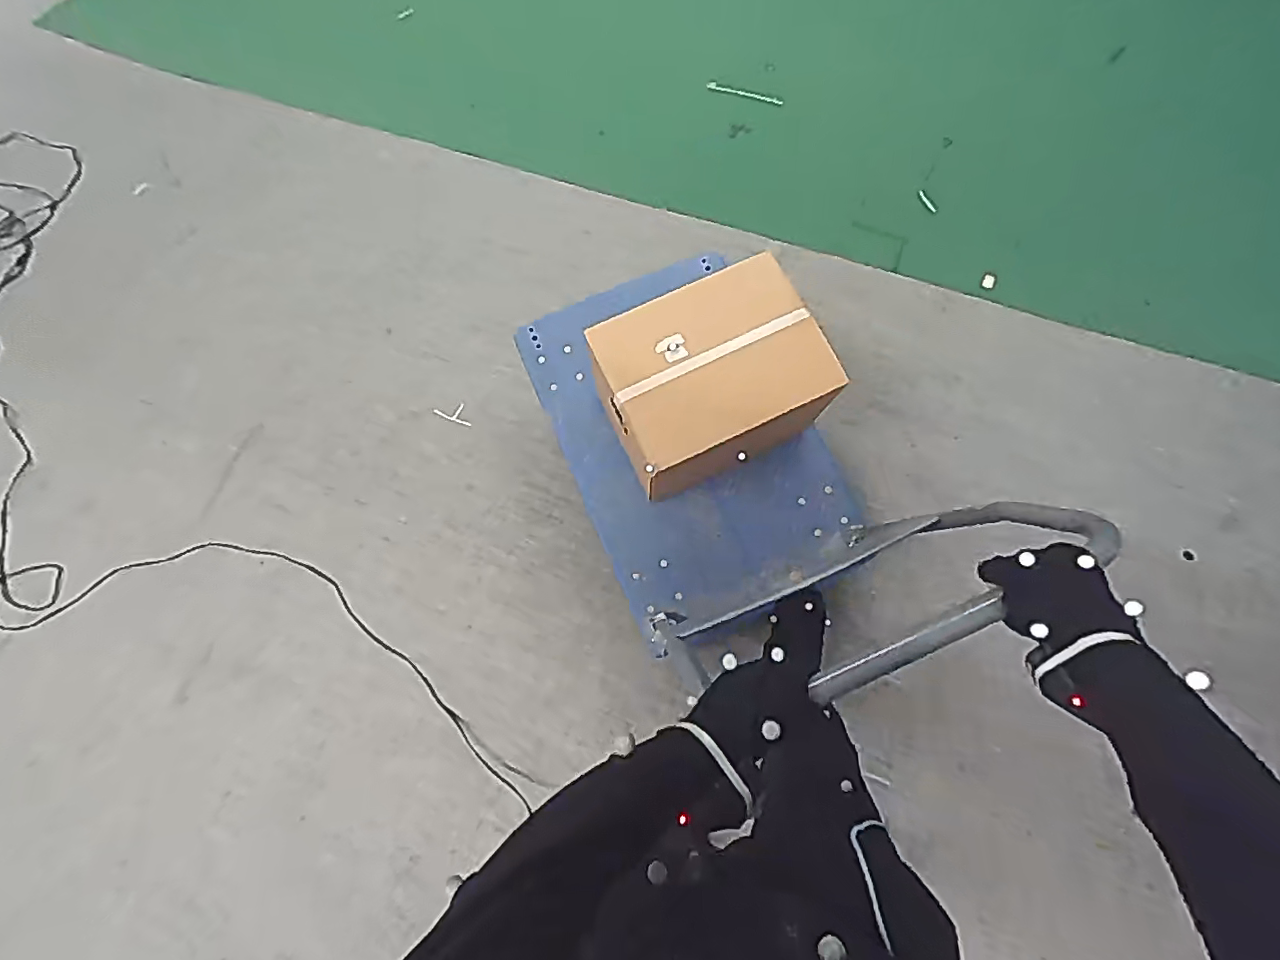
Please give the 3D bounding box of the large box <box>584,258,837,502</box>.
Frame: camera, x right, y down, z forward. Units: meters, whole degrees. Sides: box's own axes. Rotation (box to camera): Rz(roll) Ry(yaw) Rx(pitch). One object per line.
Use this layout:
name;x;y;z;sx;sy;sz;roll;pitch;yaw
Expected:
large box;0.136;-0.193;1.175;0.408;0.320;0.320;-26;78;-4
